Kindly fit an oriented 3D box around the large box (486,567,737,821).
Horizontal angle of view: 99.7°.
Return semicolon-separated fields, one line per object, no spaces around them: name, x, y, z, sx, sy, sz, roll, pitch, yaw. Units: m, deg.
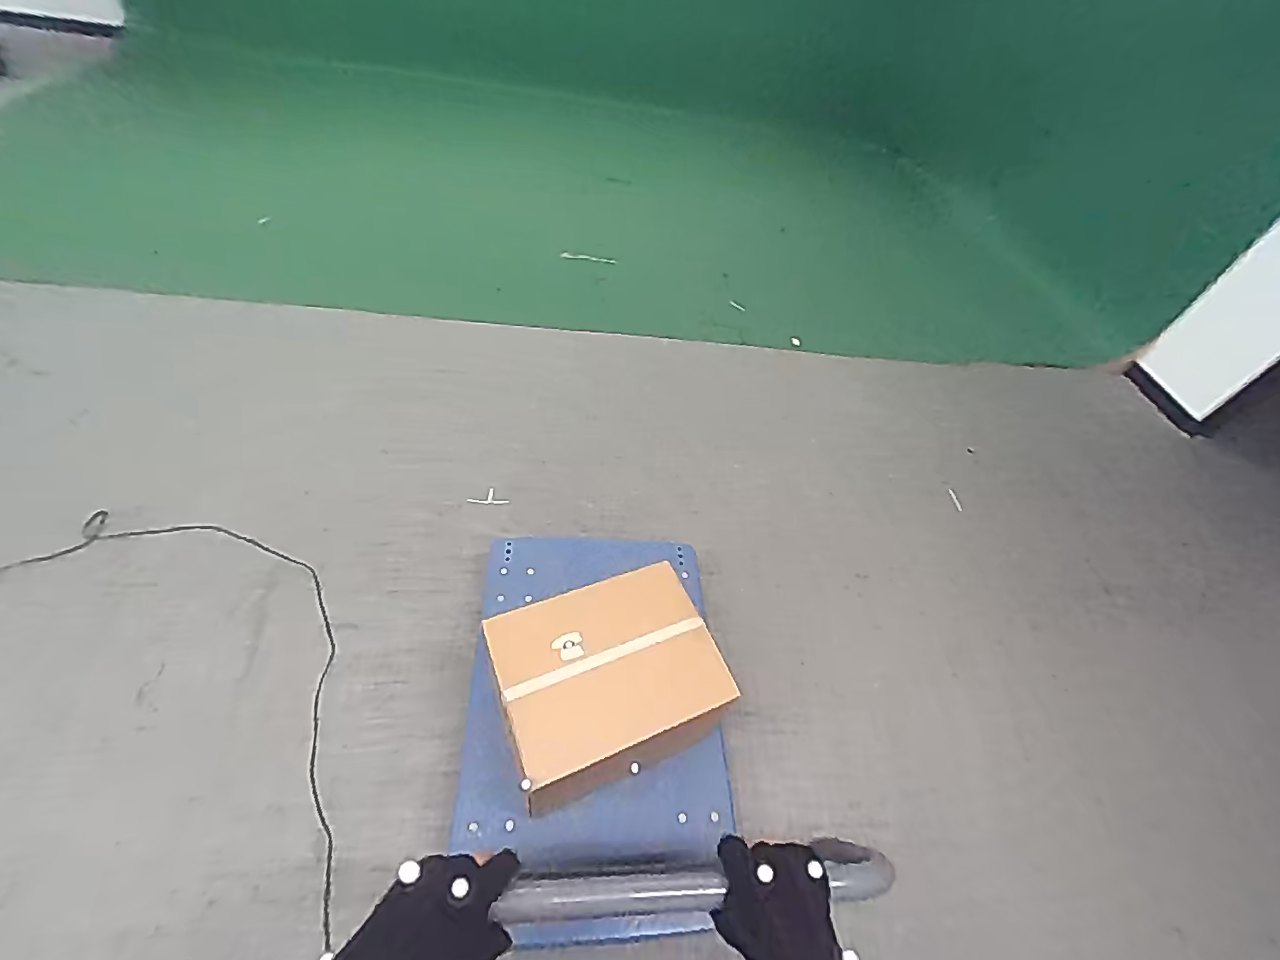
large box;-0.072;0.442;1.133;0.408;0.320;0.320;-16;54;-21
